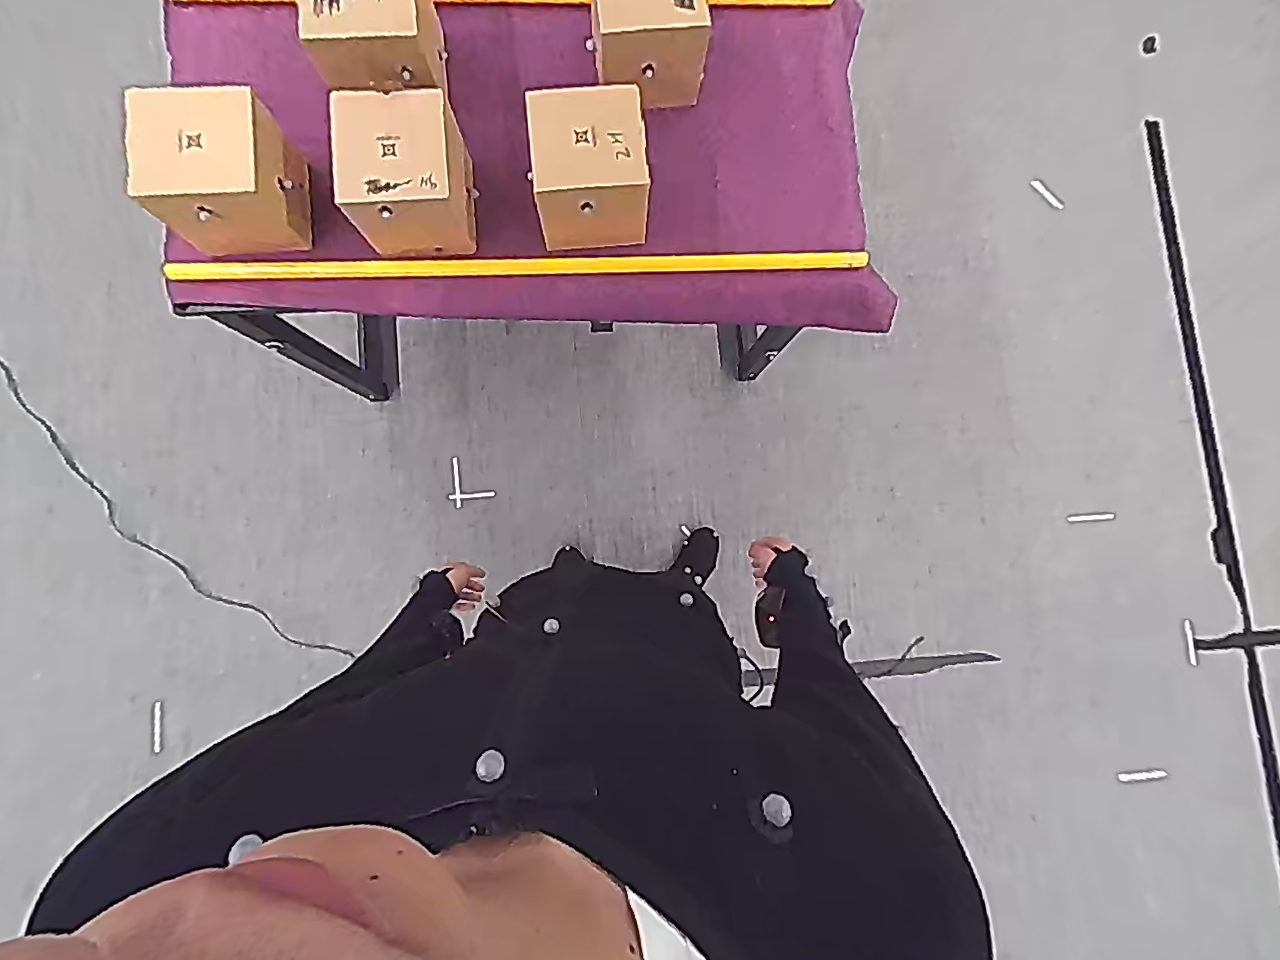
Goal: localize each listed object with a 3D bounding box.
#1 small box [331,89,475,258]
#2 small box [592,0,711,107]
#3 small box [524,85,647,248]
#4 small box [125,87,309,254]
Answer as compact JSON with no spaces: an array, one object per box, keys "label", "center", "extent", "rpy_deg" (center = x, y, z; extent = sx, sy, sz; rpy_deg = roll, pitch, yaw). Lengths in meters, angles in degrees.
[{"label":"small box","center":[-0.370,-0.482,0.868],"extent":[0.168,0.176,0.179],"rpy_deg":[-4,85,-2]},{"label":"small box","center":[0.012,-0.763,0.910],"extent":[0.179,0.176,0.168],"rpy_deg":[-7,87,-2]},{"label":"small box","center":[-0.084,-0.500,0.883],"extent":[0.179,0.176,0.168],"rpy_deg":[-5,84,-3]},{"label":"small box","center":[-0.649,-0.477,0.854],"extent":[0.179,0.176,0.168],"rpy_deg":[-5,85,-4]}]
